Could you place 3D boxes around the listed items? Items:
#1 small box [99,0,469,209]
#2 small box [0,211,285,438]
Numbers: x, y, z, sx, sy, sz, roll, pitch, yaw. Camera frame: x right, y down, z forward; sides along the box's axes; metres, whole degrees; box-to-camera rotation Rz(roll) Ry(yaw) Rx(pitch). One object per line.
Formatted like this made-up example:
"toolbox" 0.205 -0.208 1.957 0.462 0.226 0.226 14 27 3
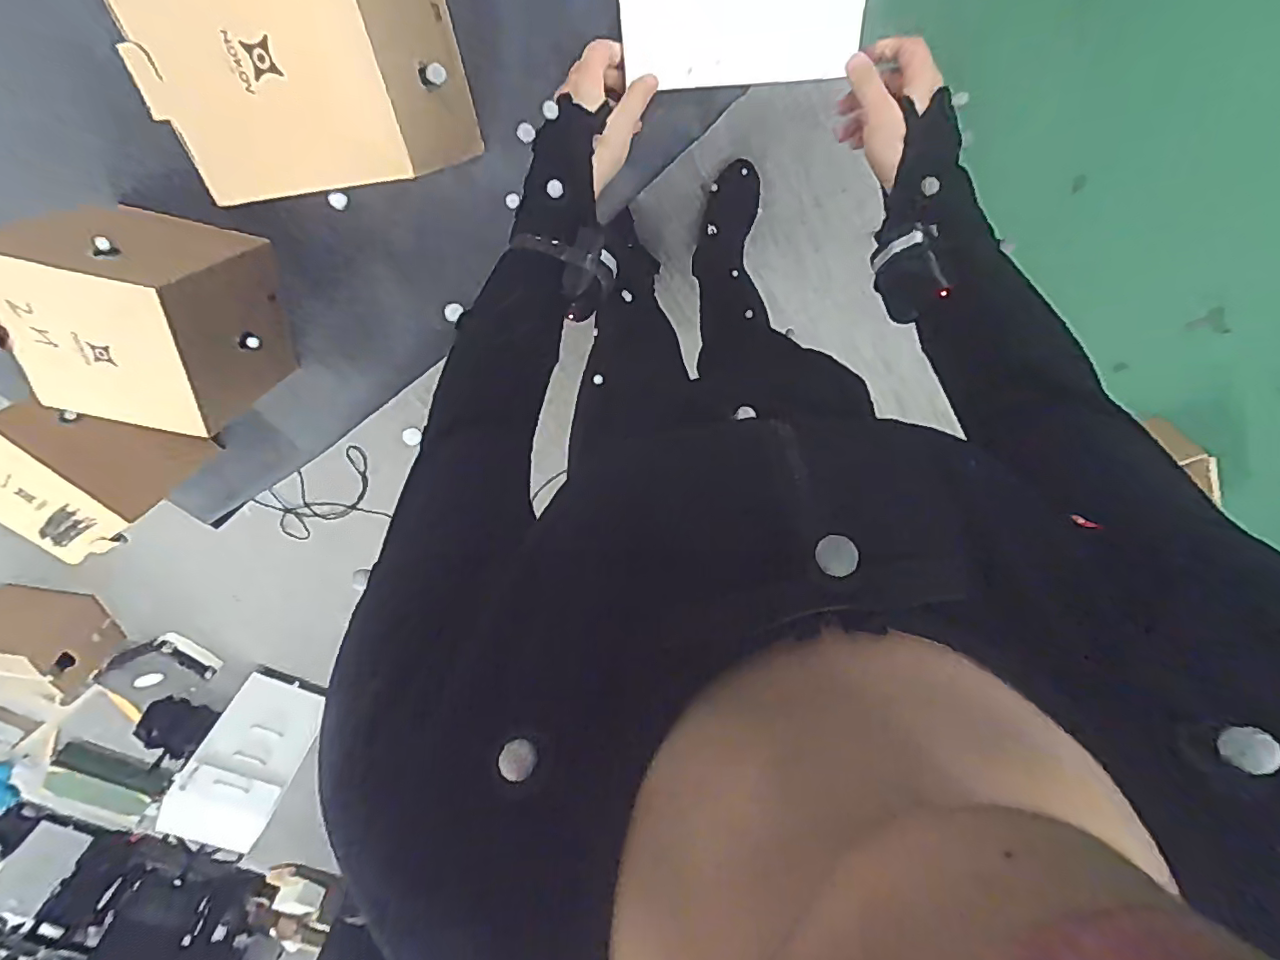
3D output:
"small box" -0.255 -0.332 0.430 0.179 0.176 0.168 -3 127 10
"small box" -0.519 -0.173 0.583 0.179 0.176 0.168 12 128 -3
